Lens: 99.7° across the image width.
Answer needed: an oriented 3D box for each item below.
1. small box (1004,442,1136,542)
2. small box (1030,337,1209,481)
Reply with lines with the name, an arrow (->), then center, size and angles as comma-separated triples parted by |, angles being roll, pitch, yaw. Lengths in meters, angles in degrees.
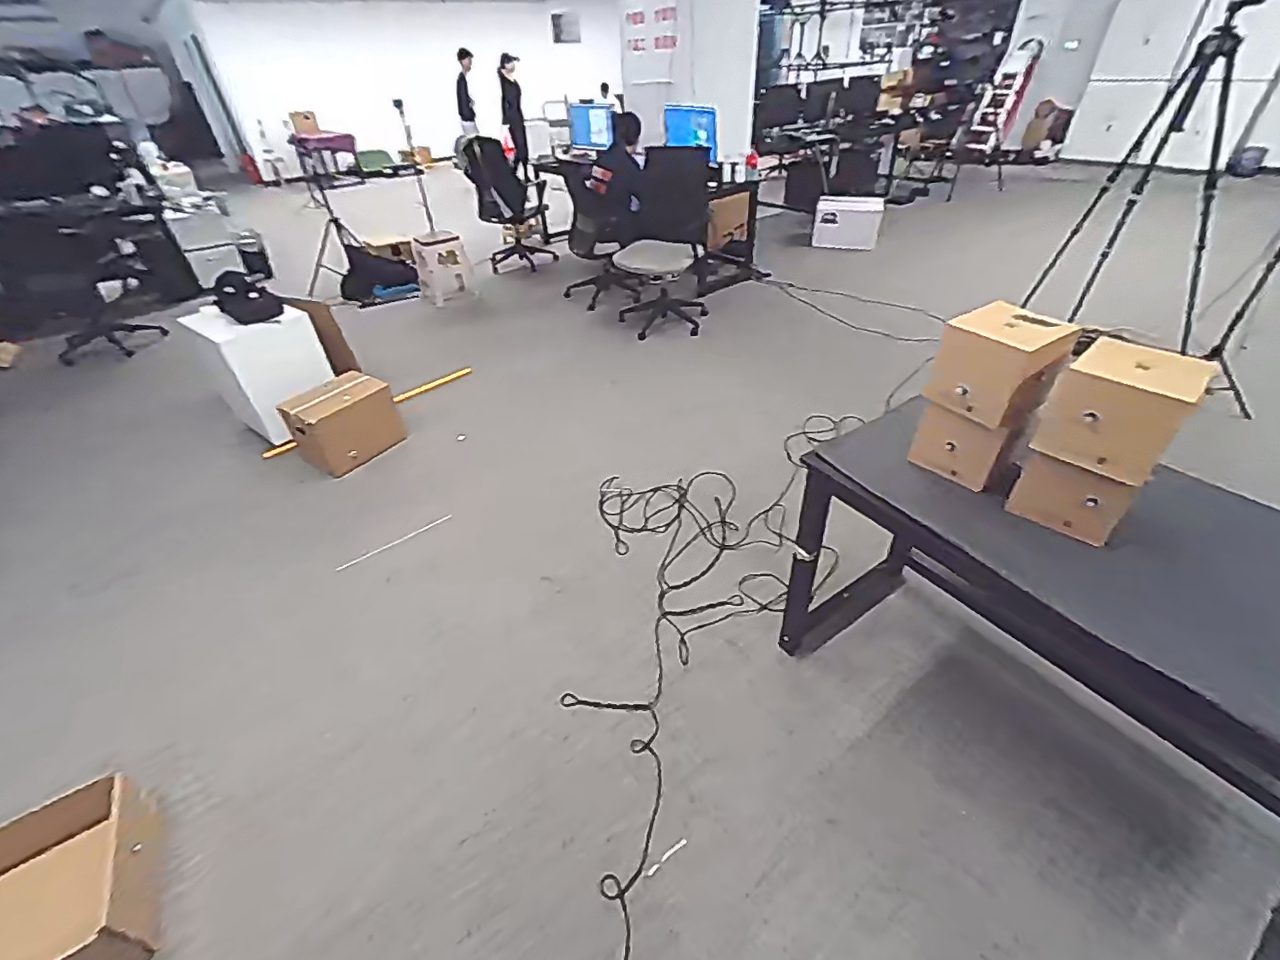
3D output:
small box -> 0.849, -0.010, 1.057 | 0.168, 0.176, 0.179 | 31, 49, 34
small box -> 0.821, -0.124, 0.943 | 0.179, 0.176, 0.168 | -31, 47, -31
